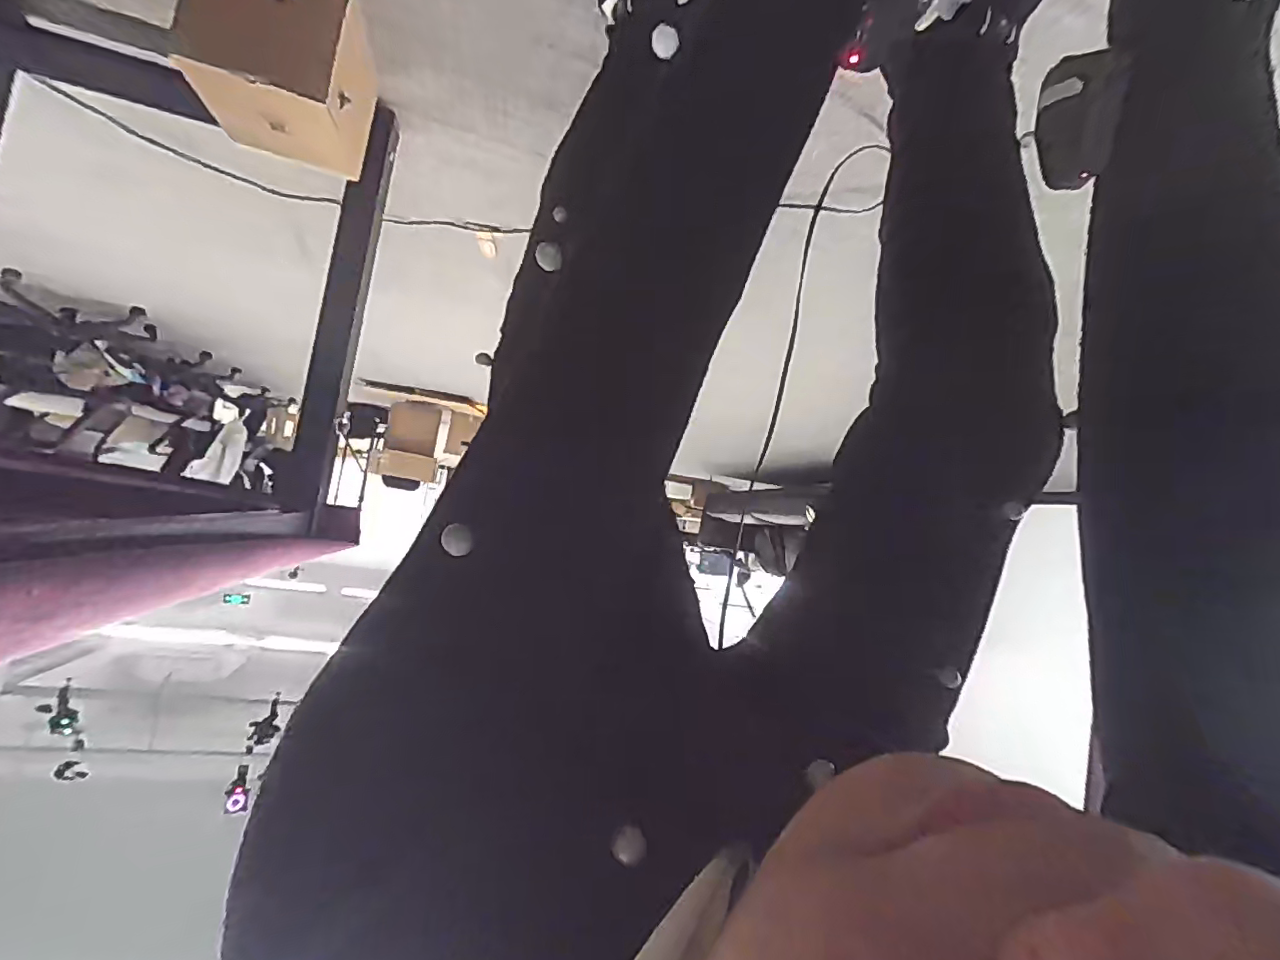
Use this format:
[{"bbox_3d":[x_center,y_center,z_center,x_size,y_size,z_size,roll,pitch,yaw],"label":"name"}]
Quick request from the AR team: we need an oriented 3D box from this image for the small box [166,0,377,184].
[{"bbox_3d":[-0.464,-0.540,0.713,0.168,0.176,0.179,10,175,-14],"label":"small box"}]
